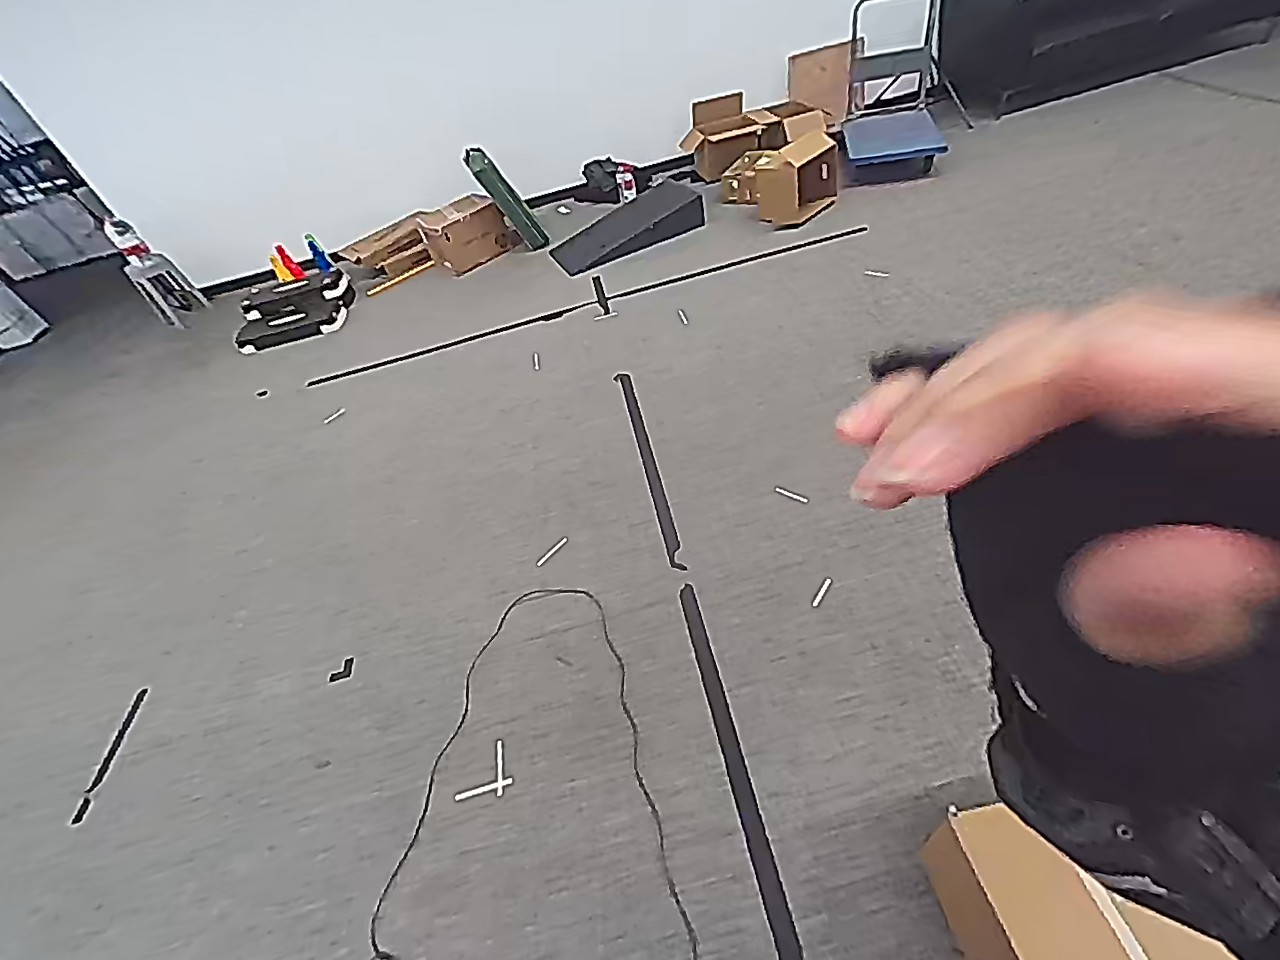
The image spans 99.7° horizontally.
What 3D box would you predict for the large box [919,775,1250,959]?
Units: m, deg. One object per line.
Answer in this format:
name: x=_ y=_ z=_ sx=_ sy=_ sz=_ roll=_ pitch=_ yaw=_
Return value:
large box: x=0.748 y=0.796 z=0.918 sx=0.320 sy=0.320 sz=0.408 roll=-14 pitch=44 yaw=0
